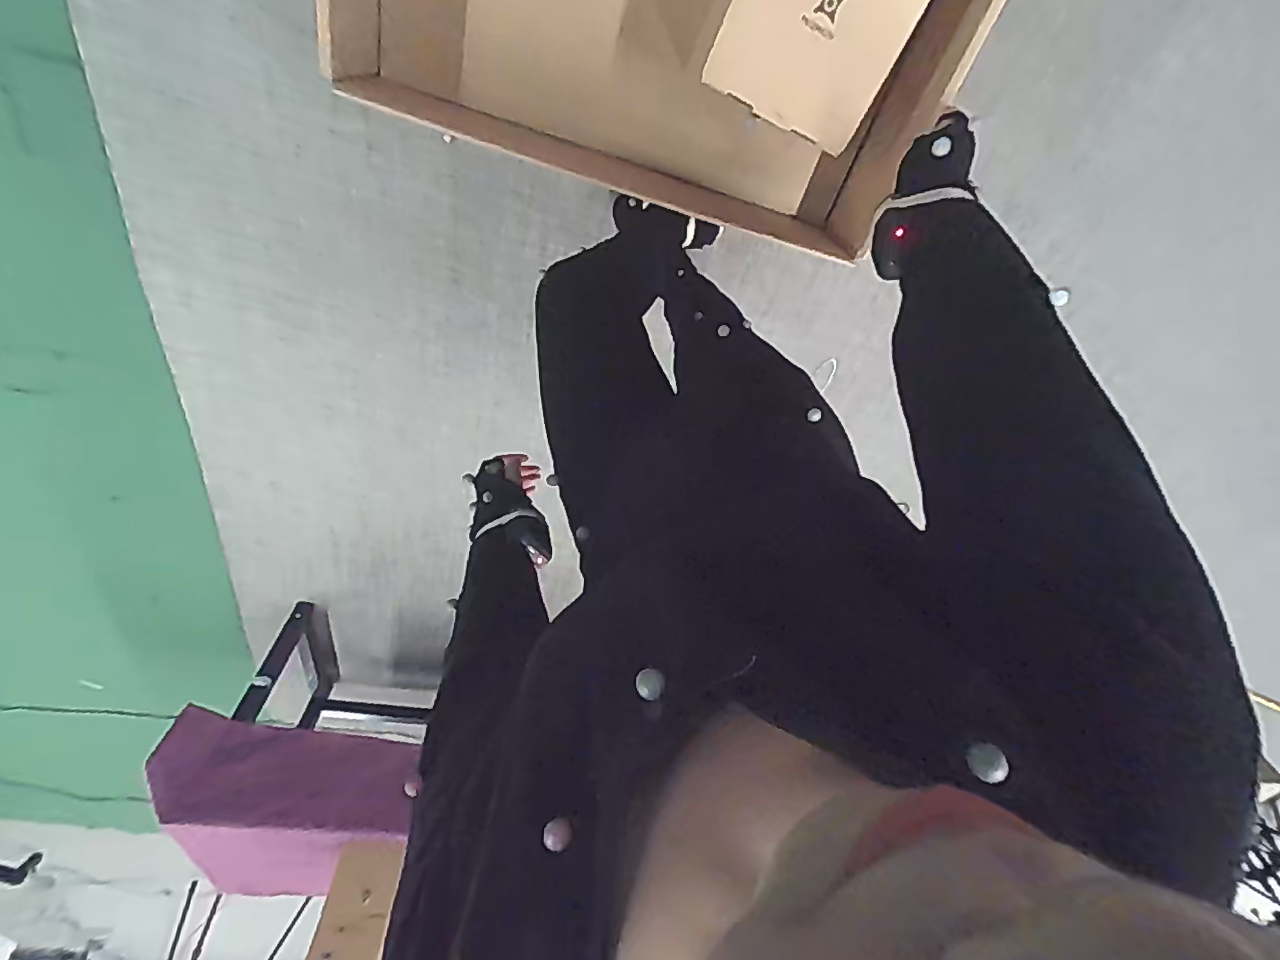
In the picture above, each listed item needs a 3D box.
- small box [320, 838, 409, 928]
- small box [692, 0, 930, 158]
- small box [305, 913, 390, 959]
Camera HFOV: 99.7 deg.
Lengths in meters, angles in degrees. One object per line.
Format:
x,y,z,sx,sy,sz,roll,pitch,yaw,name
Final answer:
-0.748,1.108,1.489,0.179,0.176,0.168,11,128,-10,small box
0.163,-0.471,0.552,0.168,0.176,0.179,18,127,-16,small box
-0.746,1.217,1.367,0.168,0.176,0.179,10,129,-9,small box
